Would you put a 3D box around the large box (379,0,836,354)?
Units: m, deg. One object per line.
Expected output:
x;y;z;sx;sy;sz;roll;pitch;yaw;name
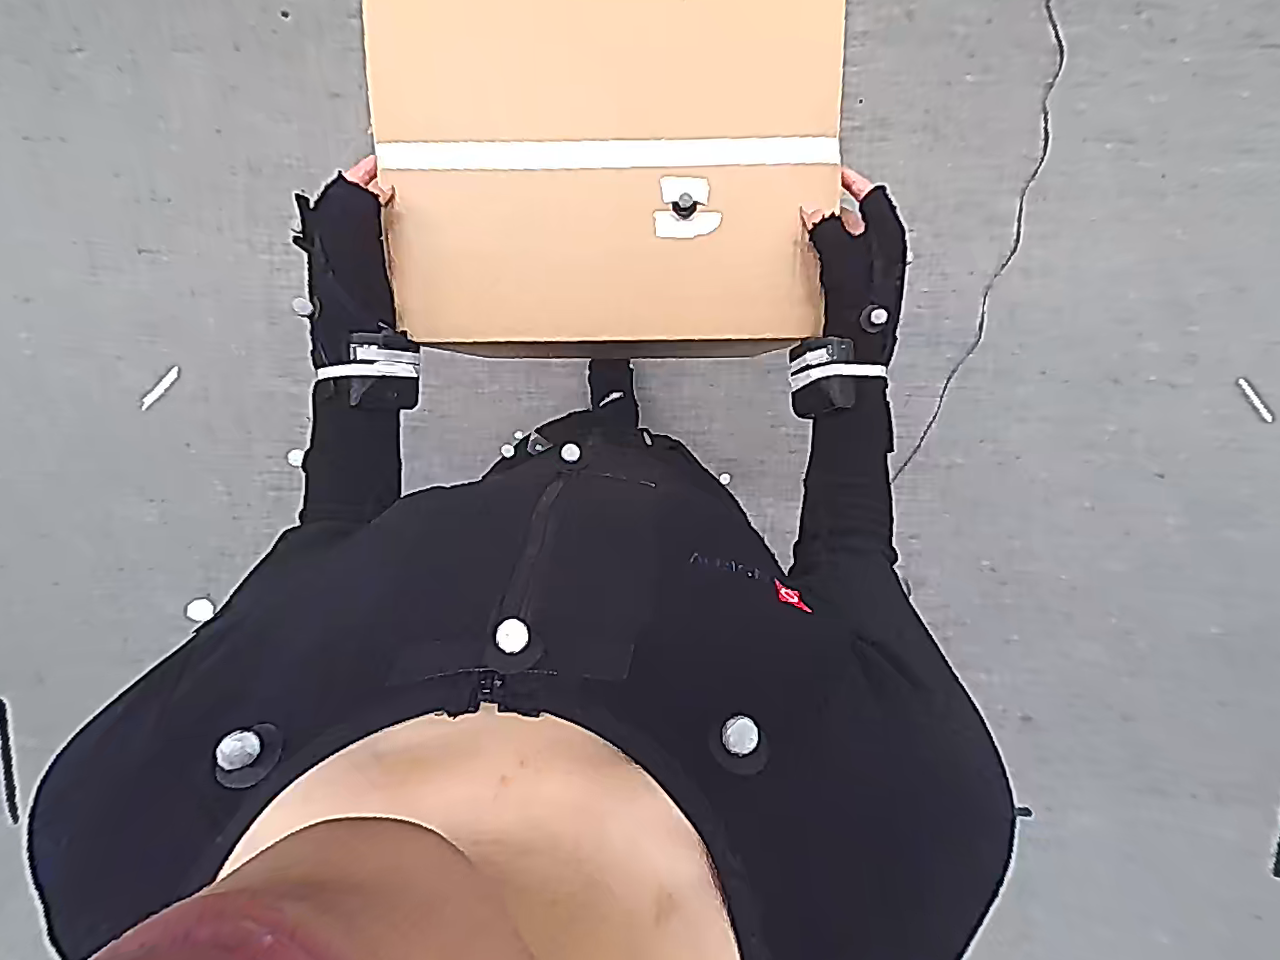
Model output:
-0.029;-0.320;0.633;0.408;0.320;0.320;-1;100;-1;large box
